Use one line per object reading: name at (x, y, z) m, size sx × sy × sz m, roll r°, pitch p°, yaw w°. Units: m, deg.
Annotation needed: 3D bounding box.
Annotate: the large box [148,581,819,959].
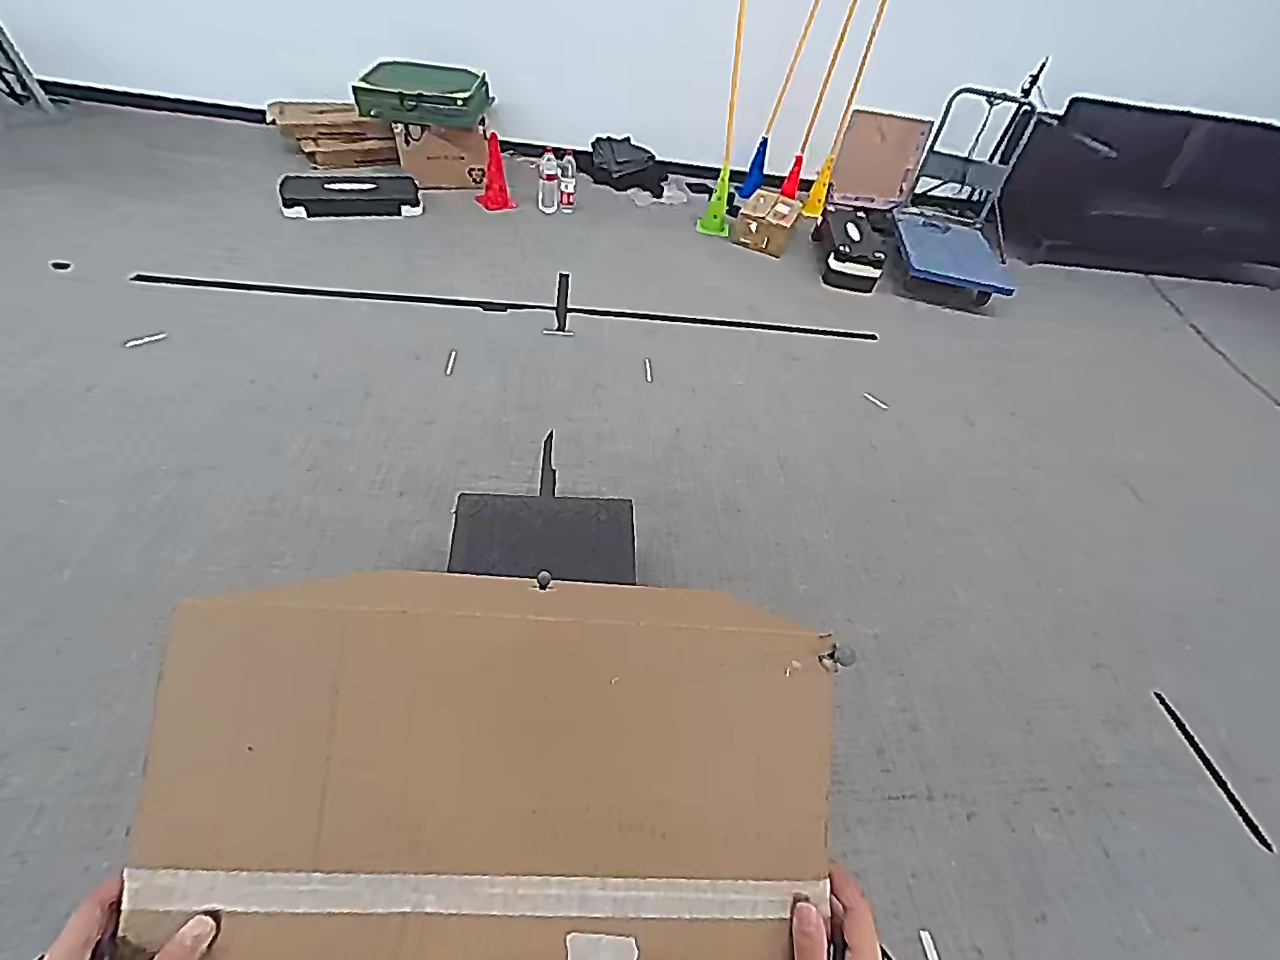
large box at (-0.098, 0.259, 0.481) m, size 0.408 × 0.320 × 0.320 m, roll 4°, pitch 84°, yaw -5°
